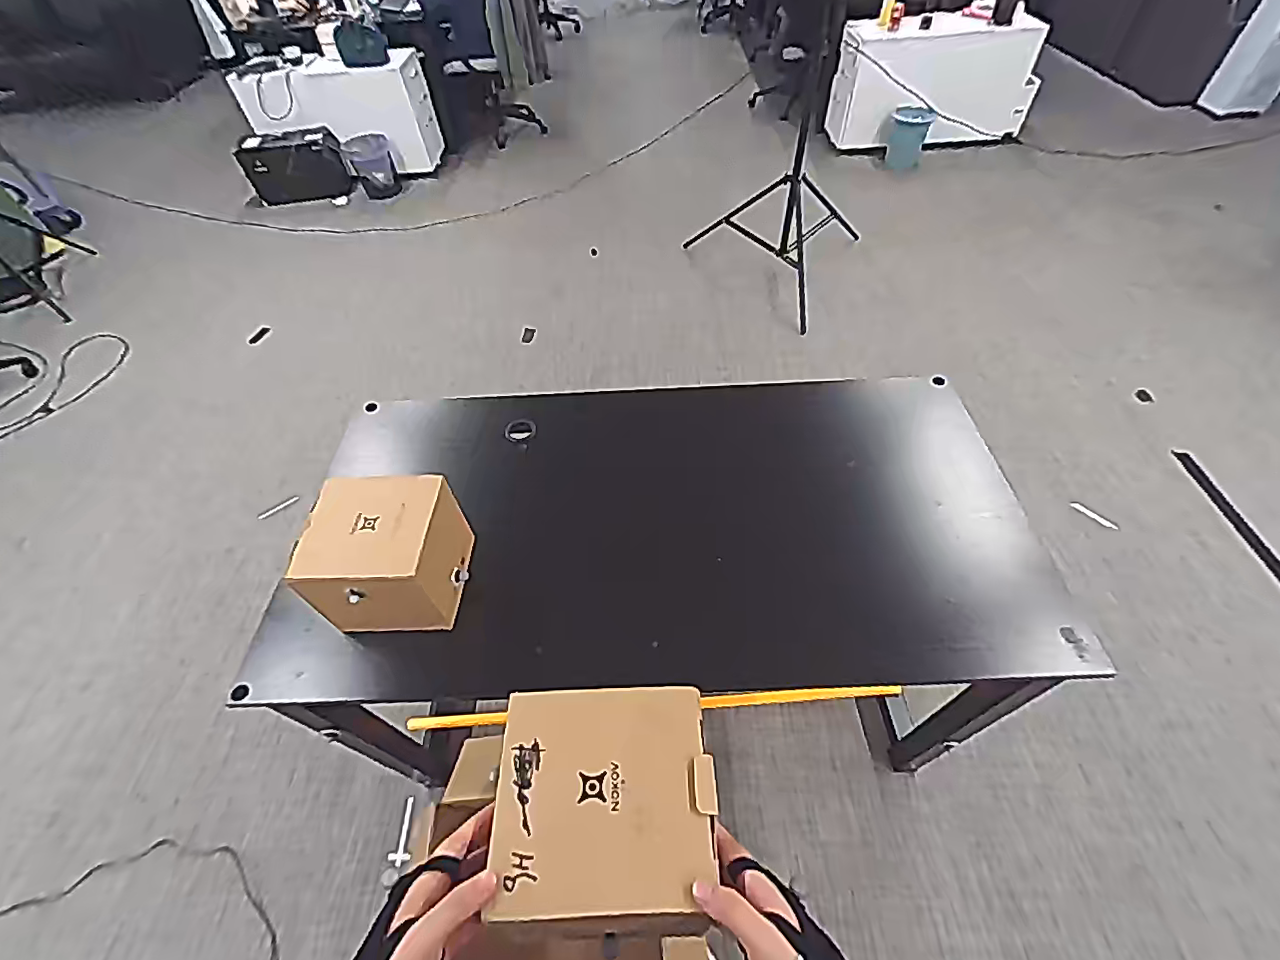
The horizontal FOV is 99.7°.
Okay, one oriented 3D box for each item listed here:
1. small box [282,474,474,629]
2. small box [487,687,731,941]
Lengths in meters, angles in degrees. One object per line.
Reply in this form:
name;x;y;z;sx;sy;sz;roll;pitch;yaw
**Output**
small box;-0.361;0.107;0.784;0.179;0.176;0.168;-1;52;1
small box;-0.025;0.304;0.493;0.179;0.176;0.168;-1;45;-2
